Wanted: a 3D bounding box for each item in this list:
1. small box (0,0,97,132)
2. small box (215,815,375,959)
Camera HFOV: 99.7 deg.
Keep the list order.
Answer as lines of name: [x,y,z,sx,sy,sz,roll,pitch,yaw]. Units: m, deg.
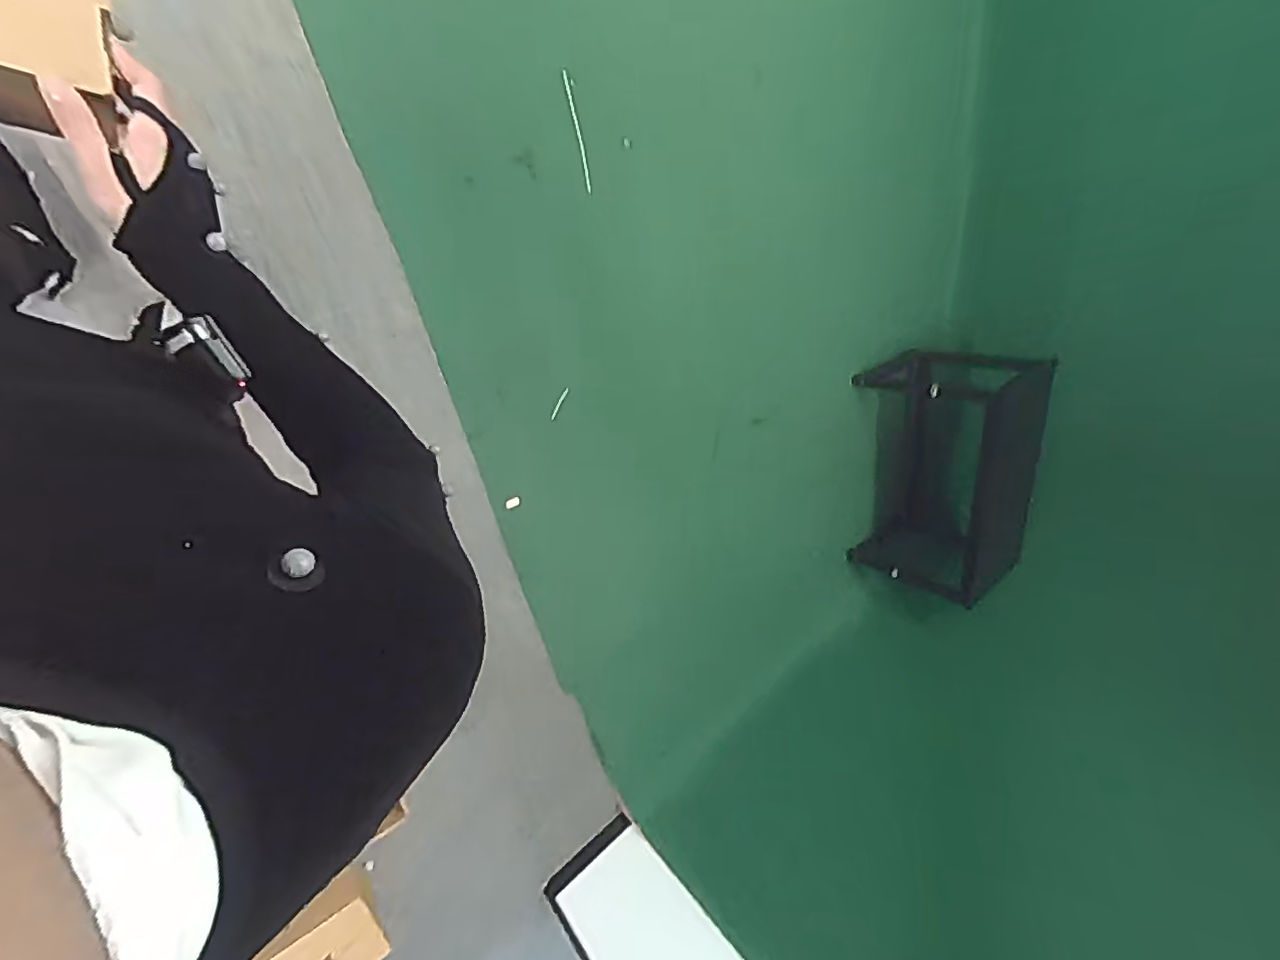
small box: [-0.523,-0.382,0.391,0.179,0.176,0.168,-6,105,-42]
small box: [-0.573,0.720,0.903,0.179,0.176,0.168,-22,119,-31]
